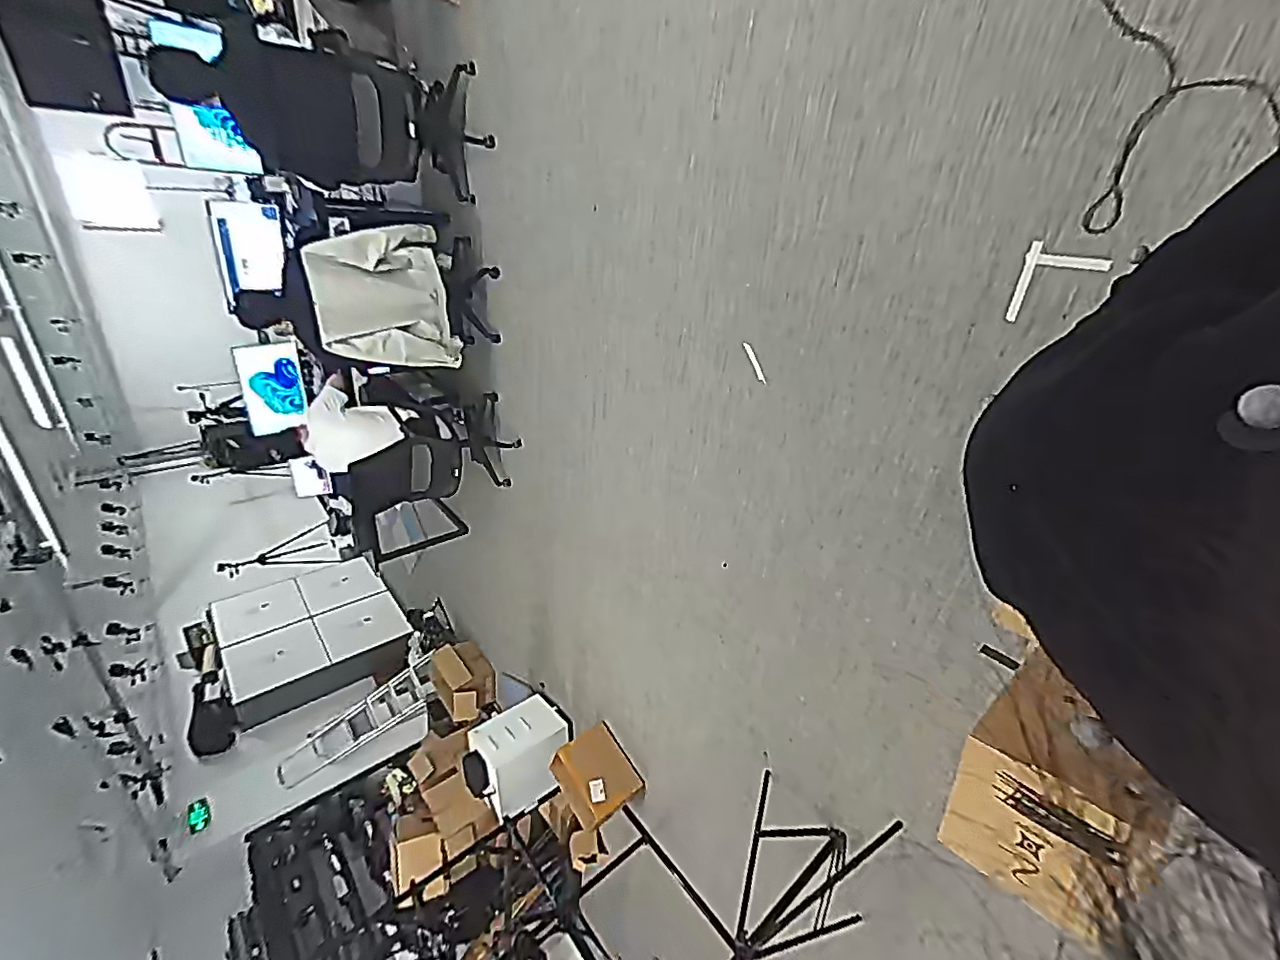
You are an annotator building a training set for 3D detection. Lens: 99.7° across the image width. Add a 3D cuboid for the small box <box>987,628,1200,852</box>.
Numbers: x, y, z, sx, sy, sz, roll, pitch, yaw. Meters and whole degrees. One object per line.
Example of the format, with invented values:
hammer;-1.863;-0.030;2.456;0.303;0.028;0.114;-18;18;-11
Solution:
small box;0.606;0.330;0.726;0.168;0.176;0.179;25;122;45
